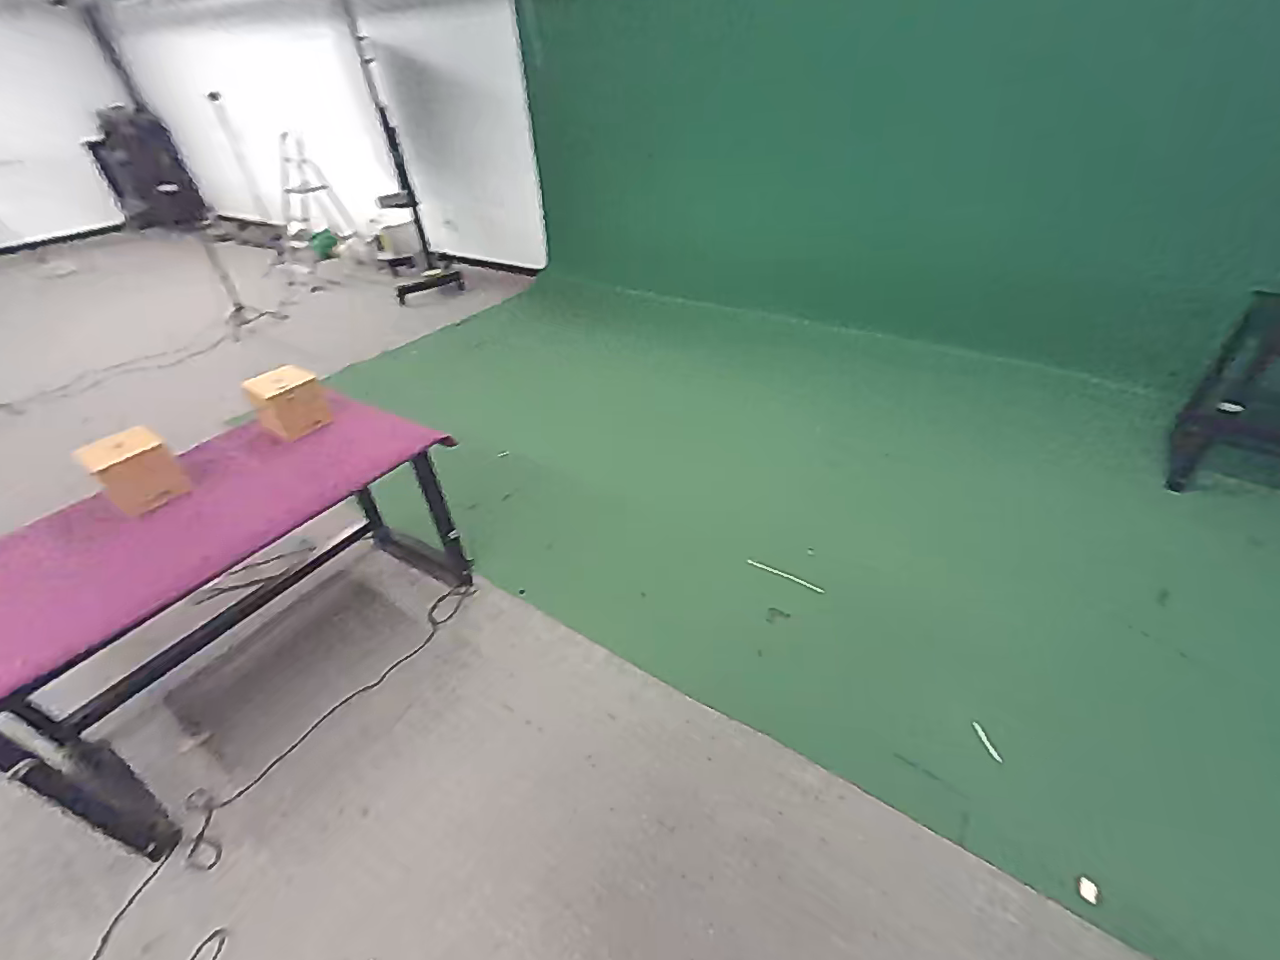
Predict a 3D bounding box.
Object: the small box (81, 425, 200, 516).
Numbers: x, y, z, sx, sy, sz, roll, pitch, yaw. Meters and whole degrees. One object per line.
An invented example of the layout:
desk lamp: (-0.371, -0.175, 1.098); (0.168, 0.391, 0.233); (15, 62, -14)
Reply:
small box: (-1.403, -0.026, 1.526); (0.179, 0.176, 0.168); (24, 46, 29)

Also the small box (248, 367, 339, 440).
small box: (-1.147, -0.252, 1.797); (0.179, 0.176, 0.168); (21, 45, 28)
